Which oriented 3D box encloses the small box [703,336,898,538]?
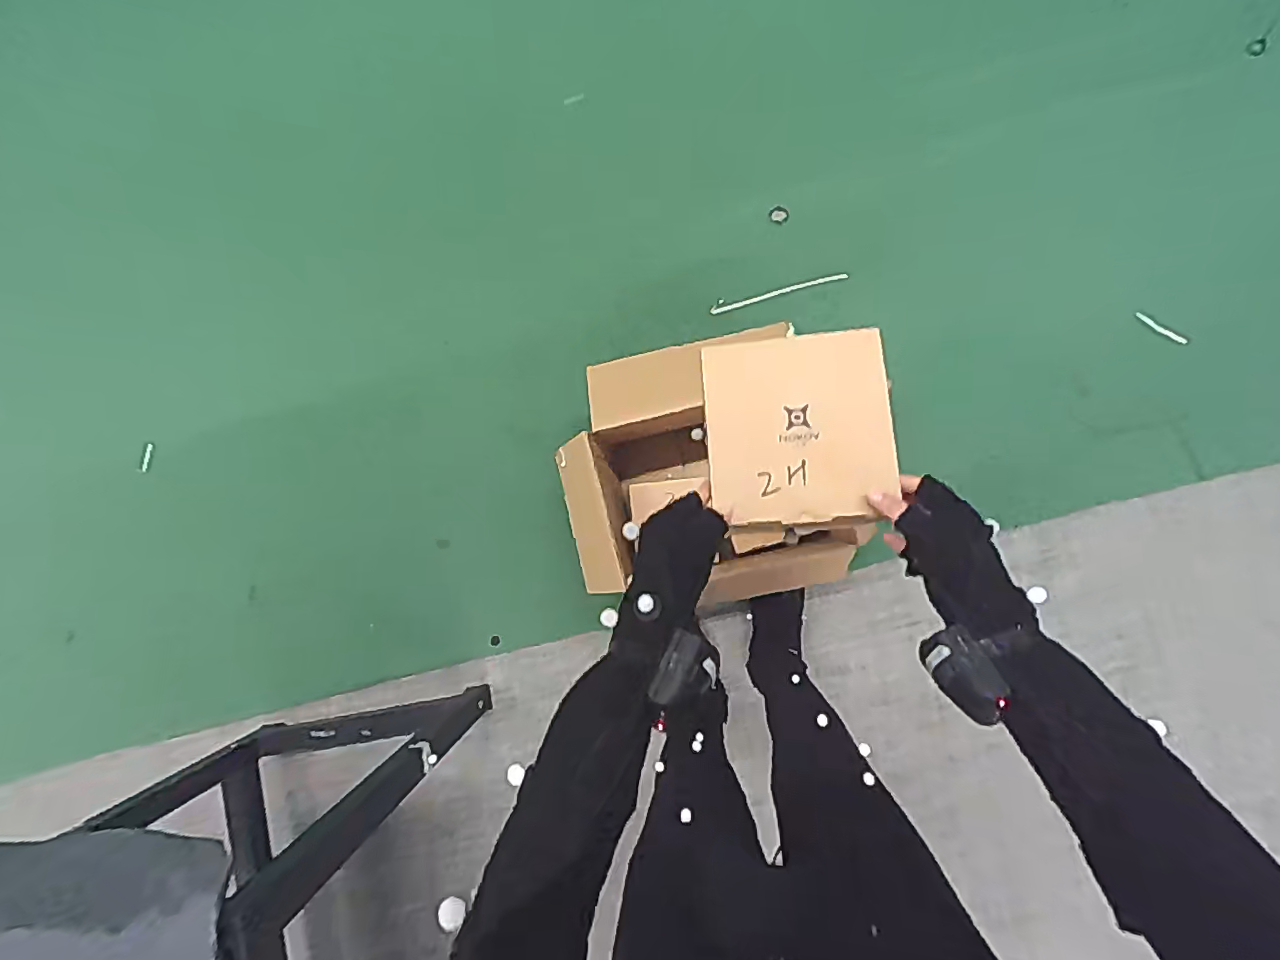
[{"bbox_3d":[0.154,-0.032,0.577,0.168,0.176,0.179,-4,81,8],"label":"small box"}]
